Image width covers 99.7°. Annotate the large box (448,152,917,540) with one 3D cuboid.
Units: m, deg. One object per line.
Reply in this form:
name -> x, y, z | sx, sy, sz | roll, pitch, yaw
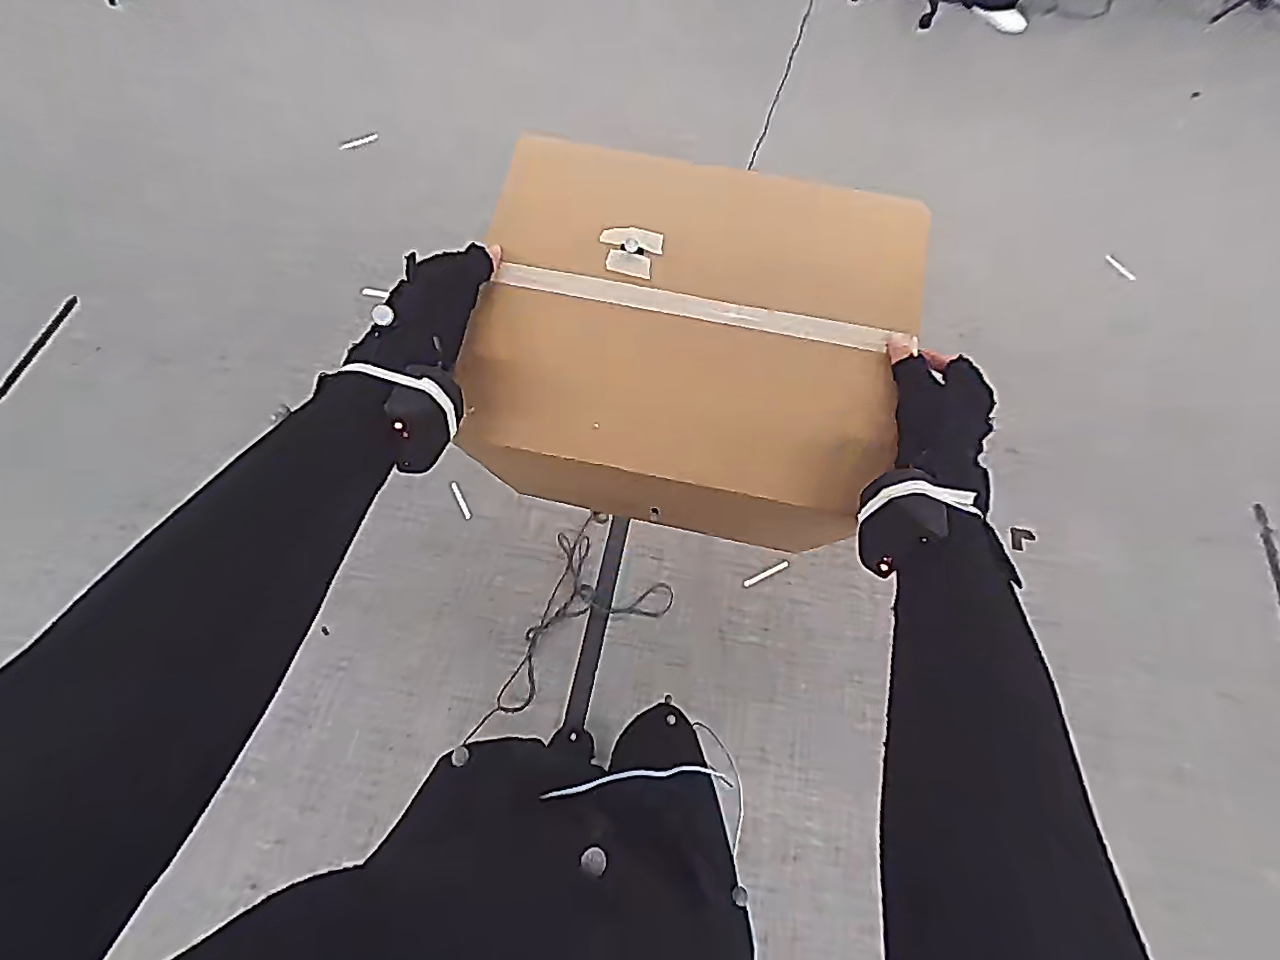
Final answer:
large box -> 0.054, -0.124, 0.654 | 0.408, 0.320, 0.320 | 12, 77, 5
